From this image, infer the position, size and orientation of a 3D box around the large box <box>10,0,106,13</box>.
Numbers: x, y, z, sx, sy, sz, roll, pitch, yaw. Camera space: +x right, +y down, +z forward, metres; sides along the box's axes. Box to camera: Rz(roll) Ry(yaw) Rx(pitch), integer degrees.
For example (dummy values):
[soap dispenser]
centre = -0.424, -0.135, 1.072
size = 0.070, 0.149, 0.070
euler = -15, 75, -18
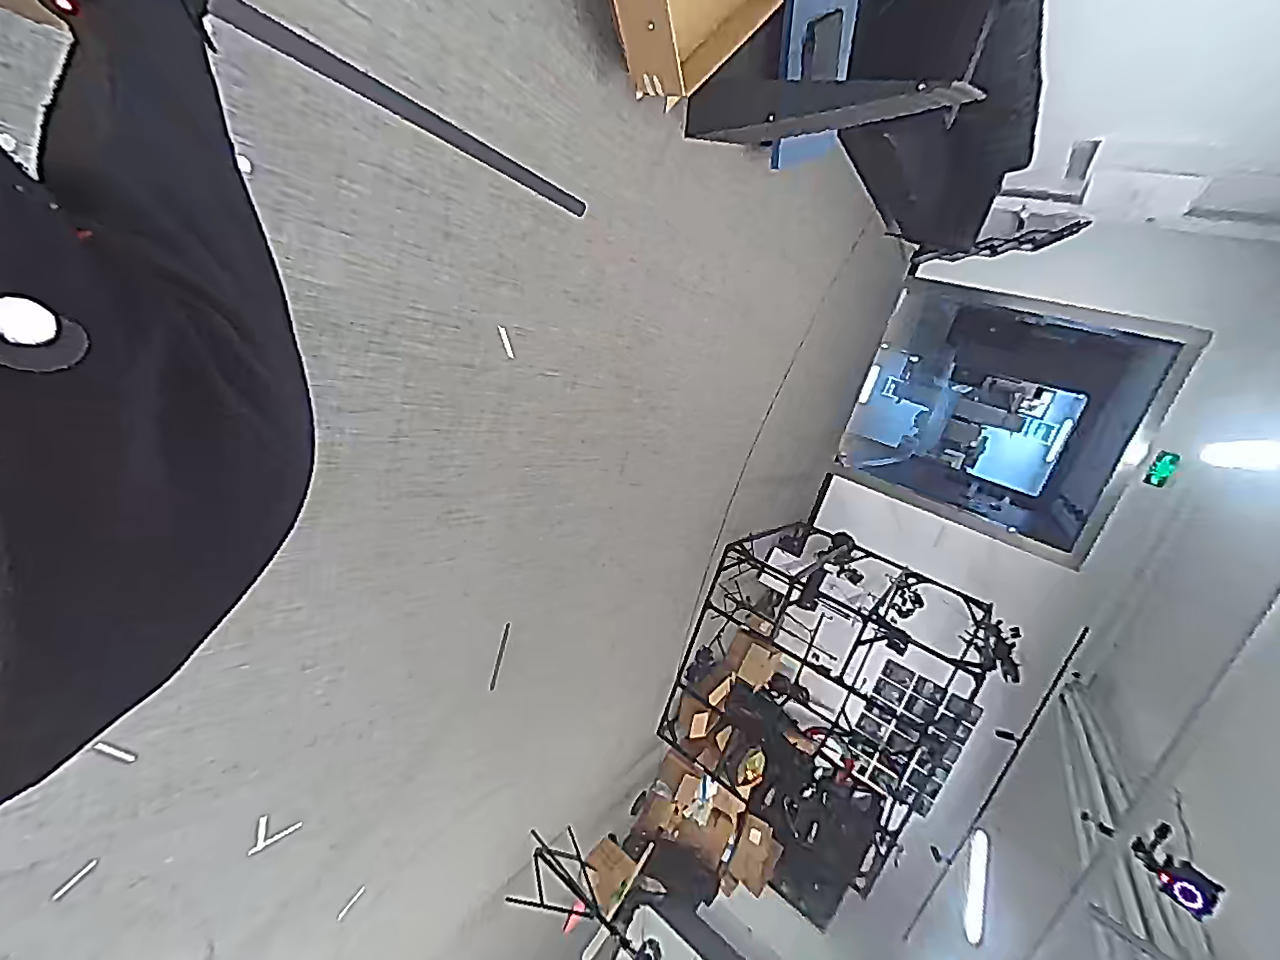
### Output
[large box]
centre = -0.599, -0.564, 0.304
size = 0.408, 0.320, 0.320
euler = -2, 117, -55
